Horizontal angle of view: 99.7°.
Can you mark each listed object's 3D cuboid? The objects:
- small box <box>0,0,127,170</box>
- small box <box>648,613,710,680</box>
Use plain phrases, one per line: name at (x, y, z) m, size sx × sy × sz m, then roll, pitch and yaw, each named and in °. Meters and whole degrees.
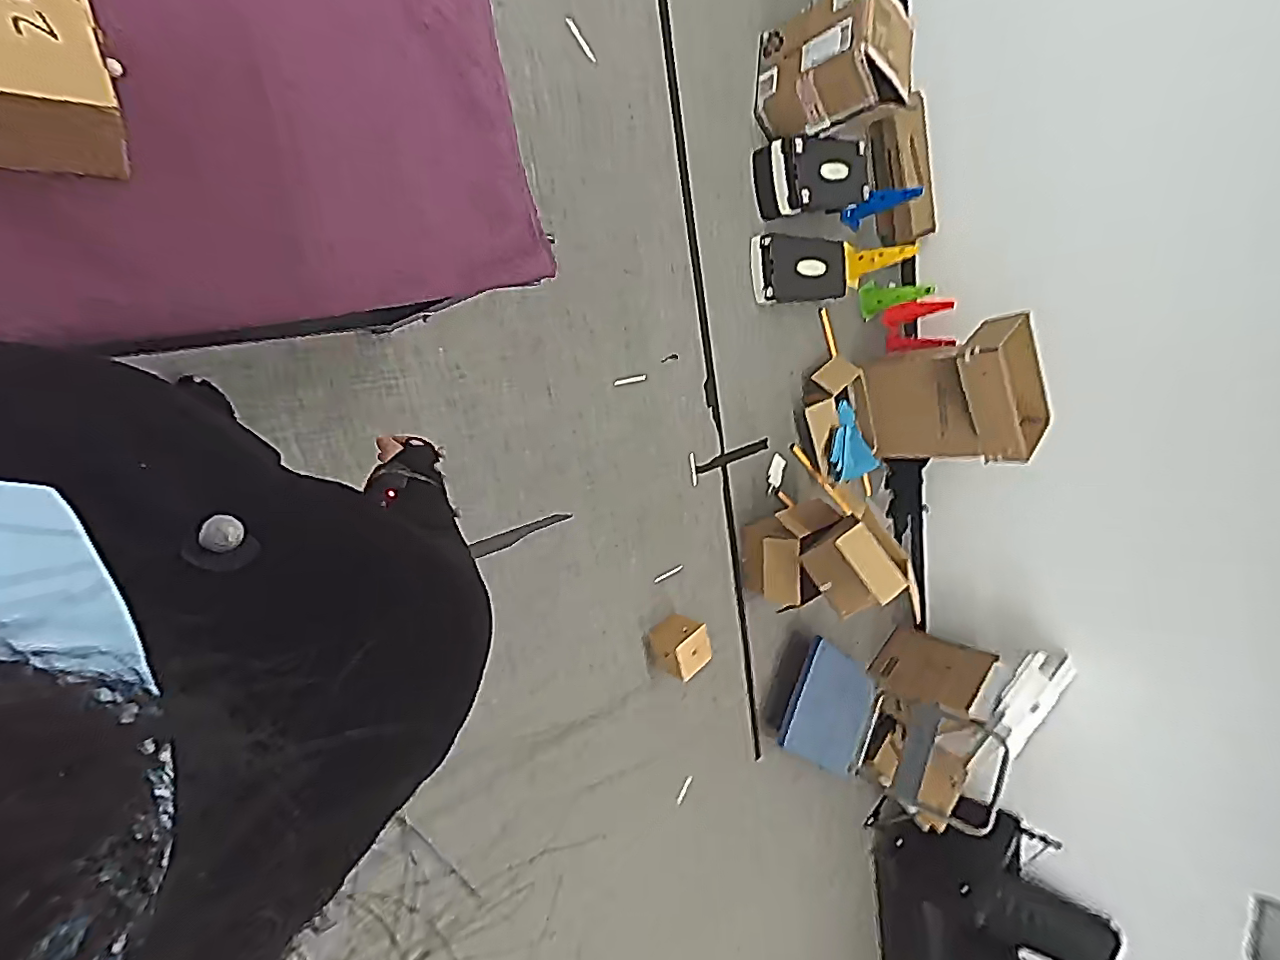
small box at (-0.549, -0.369, 0.430) m, size 0.179 × 0.176 × 0.168 m, roll -18°, pitch 107°, yaw -40°
small box at (0.150, 0.664, 2.176) m, size 0.179 × 0.176 × 0.168 m, roll -29°, pitch 113°, yaw -37°
